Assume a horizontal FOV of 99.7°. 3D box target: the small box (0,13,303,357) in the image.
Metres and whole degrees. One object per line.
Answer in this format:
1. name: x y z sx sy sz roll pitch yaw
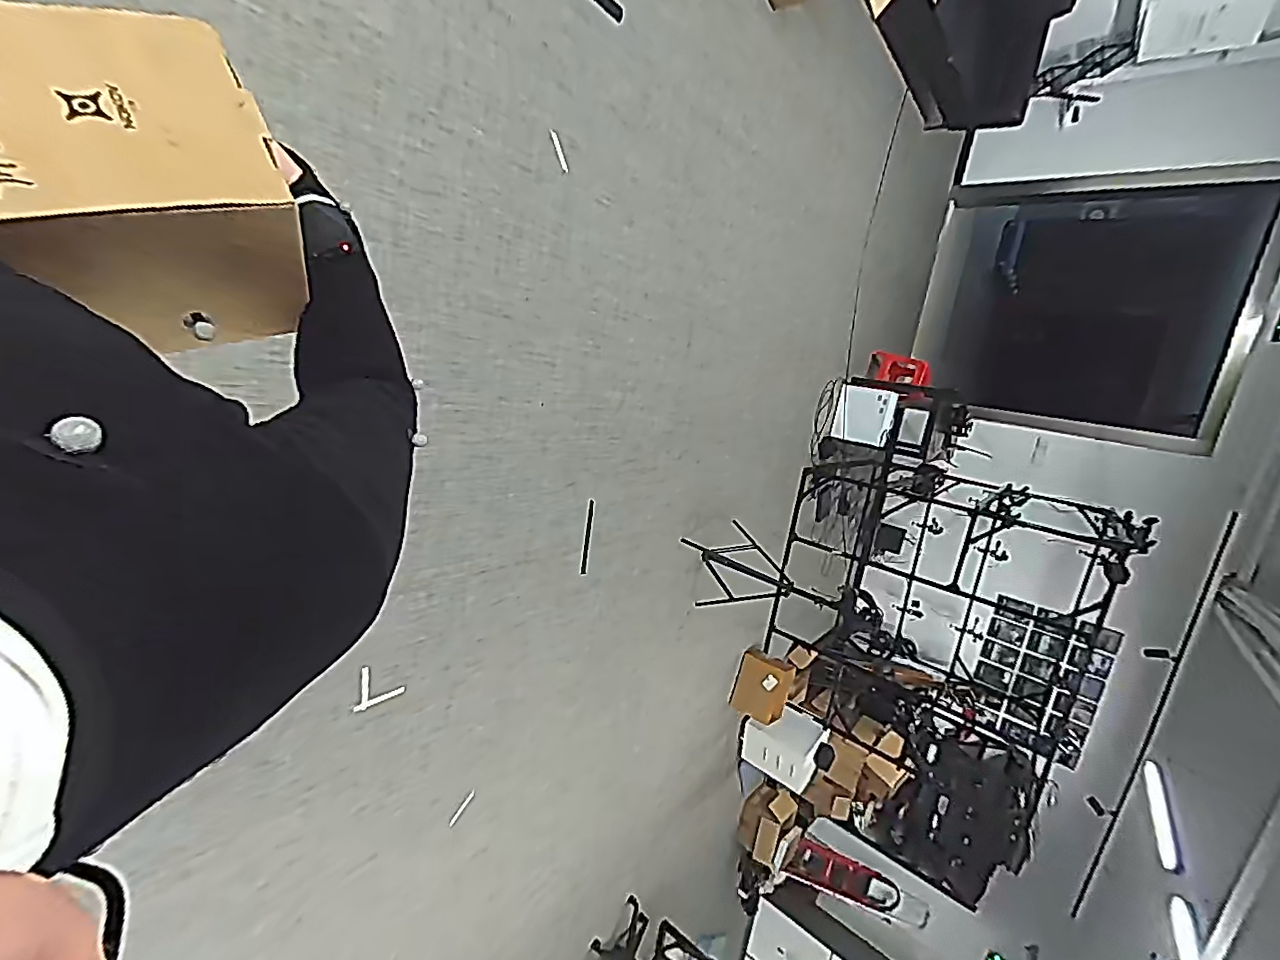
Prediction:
1. small box: -0.398 -0.224 0.442 0.179 0.176 0.168 -23 82 -32
